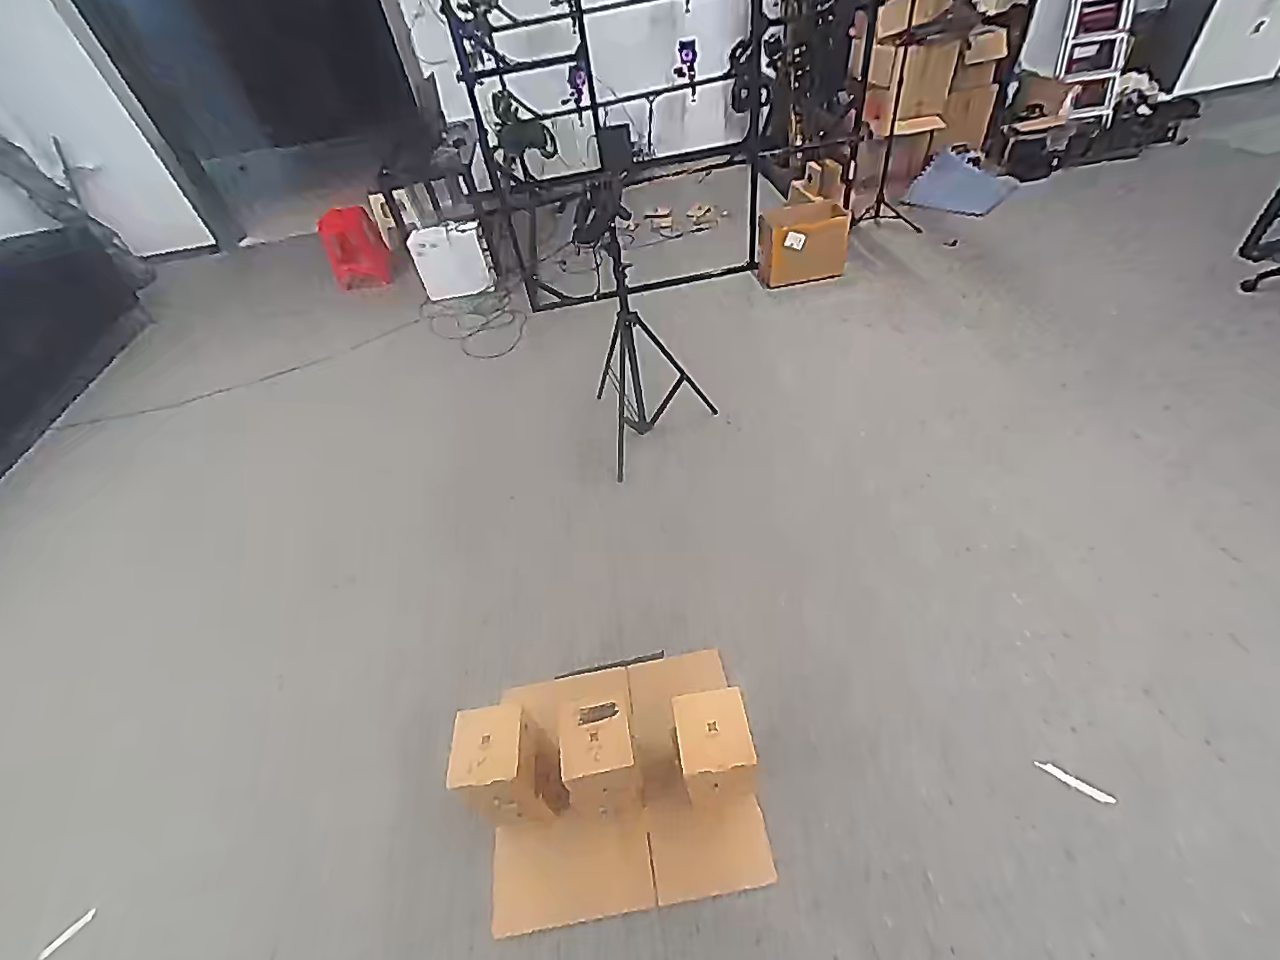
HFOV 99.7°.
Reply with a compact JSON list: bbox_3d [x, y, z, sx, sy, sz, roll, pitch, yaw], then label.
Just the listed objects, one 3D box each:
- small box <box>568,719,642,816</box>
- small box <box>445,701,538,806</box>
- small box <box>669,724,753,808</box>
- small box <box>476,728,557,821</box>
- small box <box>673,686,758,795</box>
[{"bbox_3d":[-0.089,0.754,1.415,0.168,0.176,0.179,-8,45,2],"label":"small box"},{"bbox_3d":[-0.350,0.665,1.315,0.168,0.176,0.179,-9,46,2],"label":"small box"},{"bbox_3d":[0.188,0.720,1.398,0.179,0.176,0.168,-17,46,-7],"label":"small box"},{"bbox_3d":[-0.318,0.782,1.427,0.168,0.176,0.179,-10,46,2],"label":"small box"},{"bbox_3d":[0.173,0.615,1.274,0.168,0.176,0.179,-10,46,0],"label":"small box"}]
